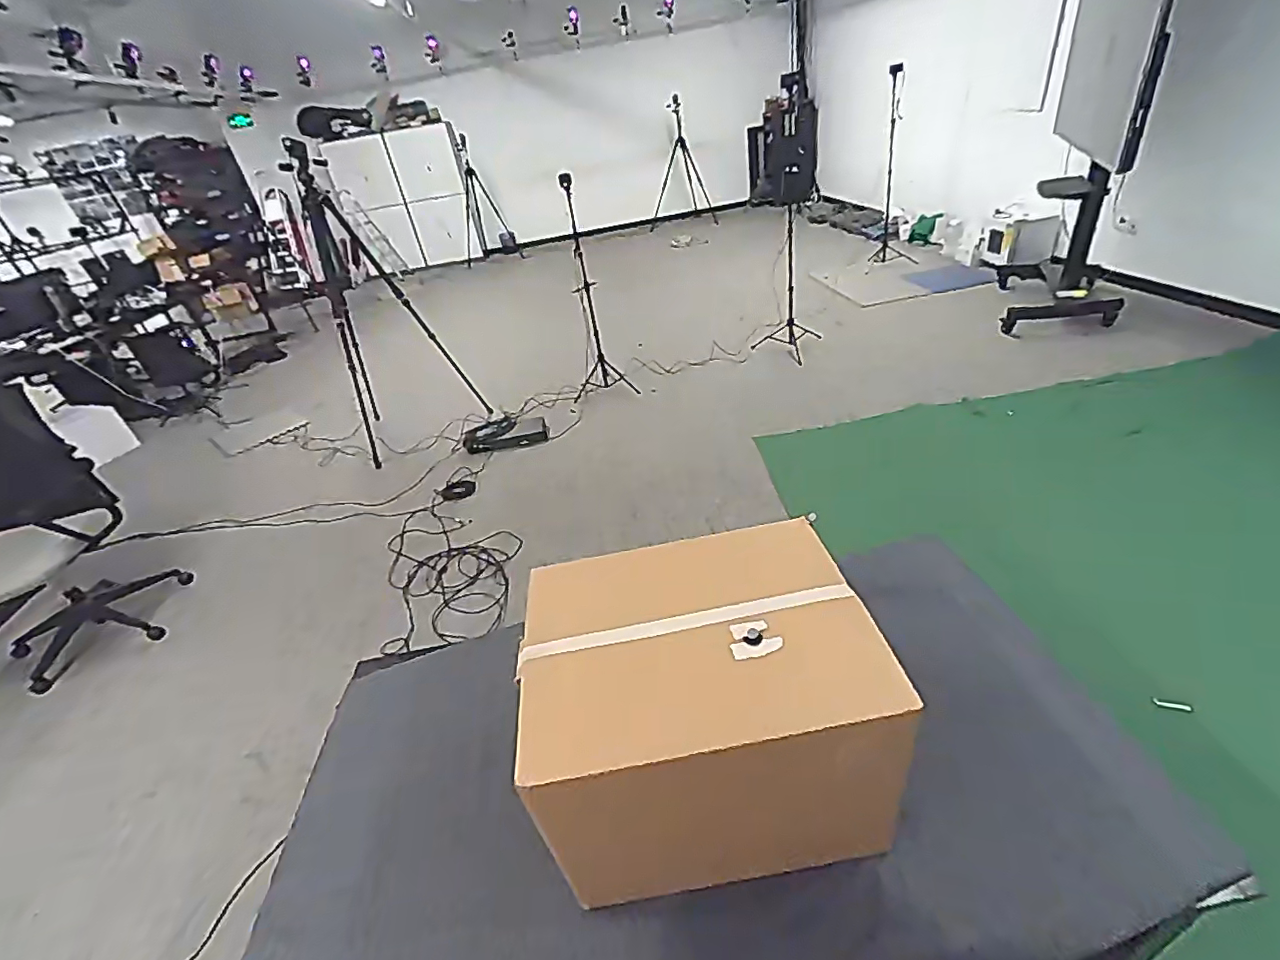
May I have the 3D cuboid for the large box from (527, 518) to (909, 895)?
[{"bbox_3d":[0.082,0.297,0.744,0.408,0.320,0.320,-11,34,-1],"label":"large box"}]
